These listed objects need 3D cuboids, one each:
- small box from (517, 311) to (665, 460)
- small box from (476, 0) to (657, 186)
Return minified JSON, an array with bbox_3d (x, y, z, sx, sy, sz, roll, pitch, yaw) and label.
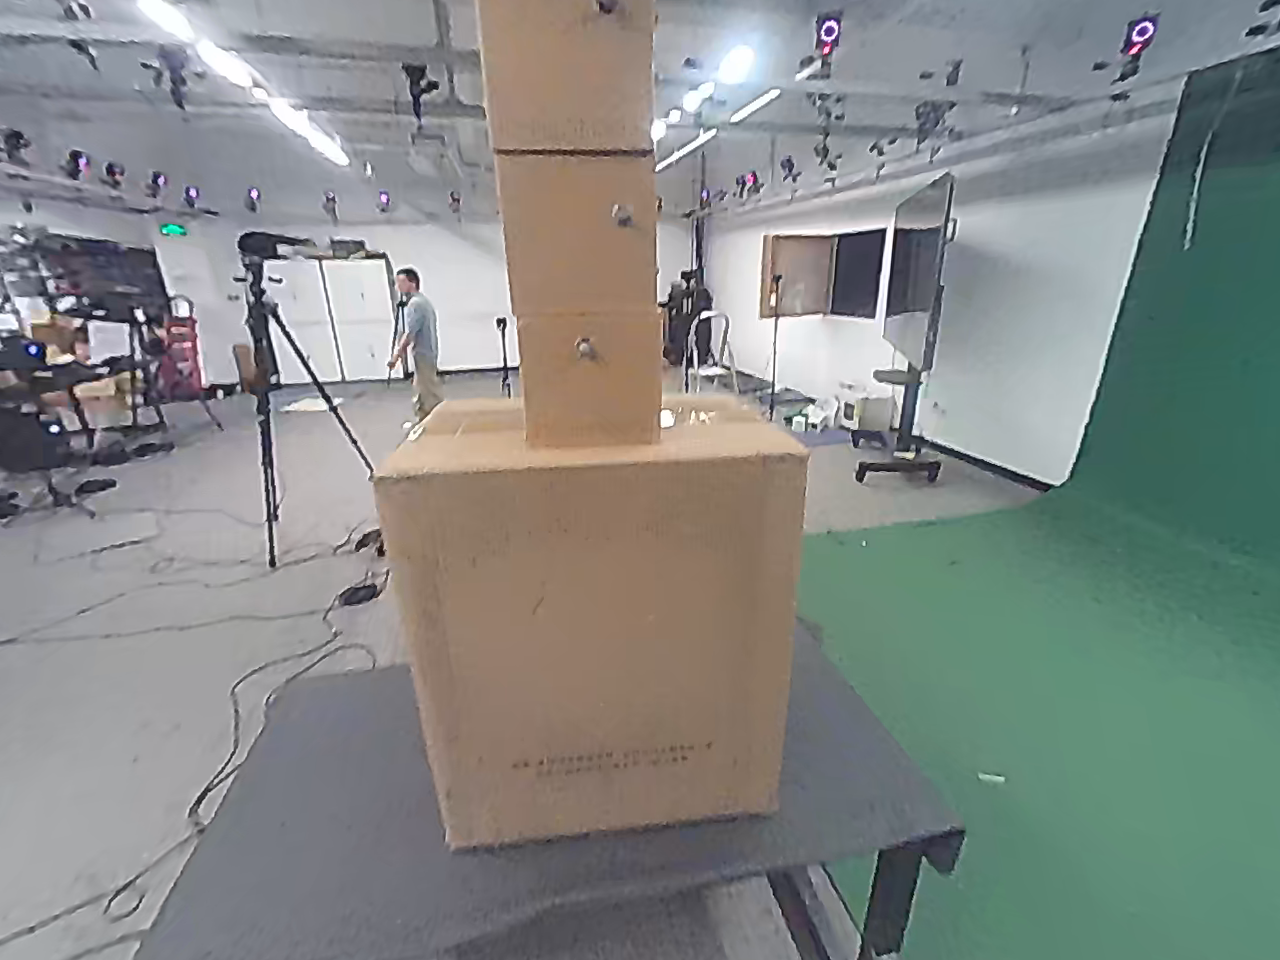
[{"bbox_3d":[-0.063,-0.133,0.738,0.179,0.176,0.168,-3,23,-5],"label":"small box"},{"bbox_3d":[-0.076,-0.438,0.616,0.179,0.176,0.168,-2,22,-4],"label":"small box"}]
